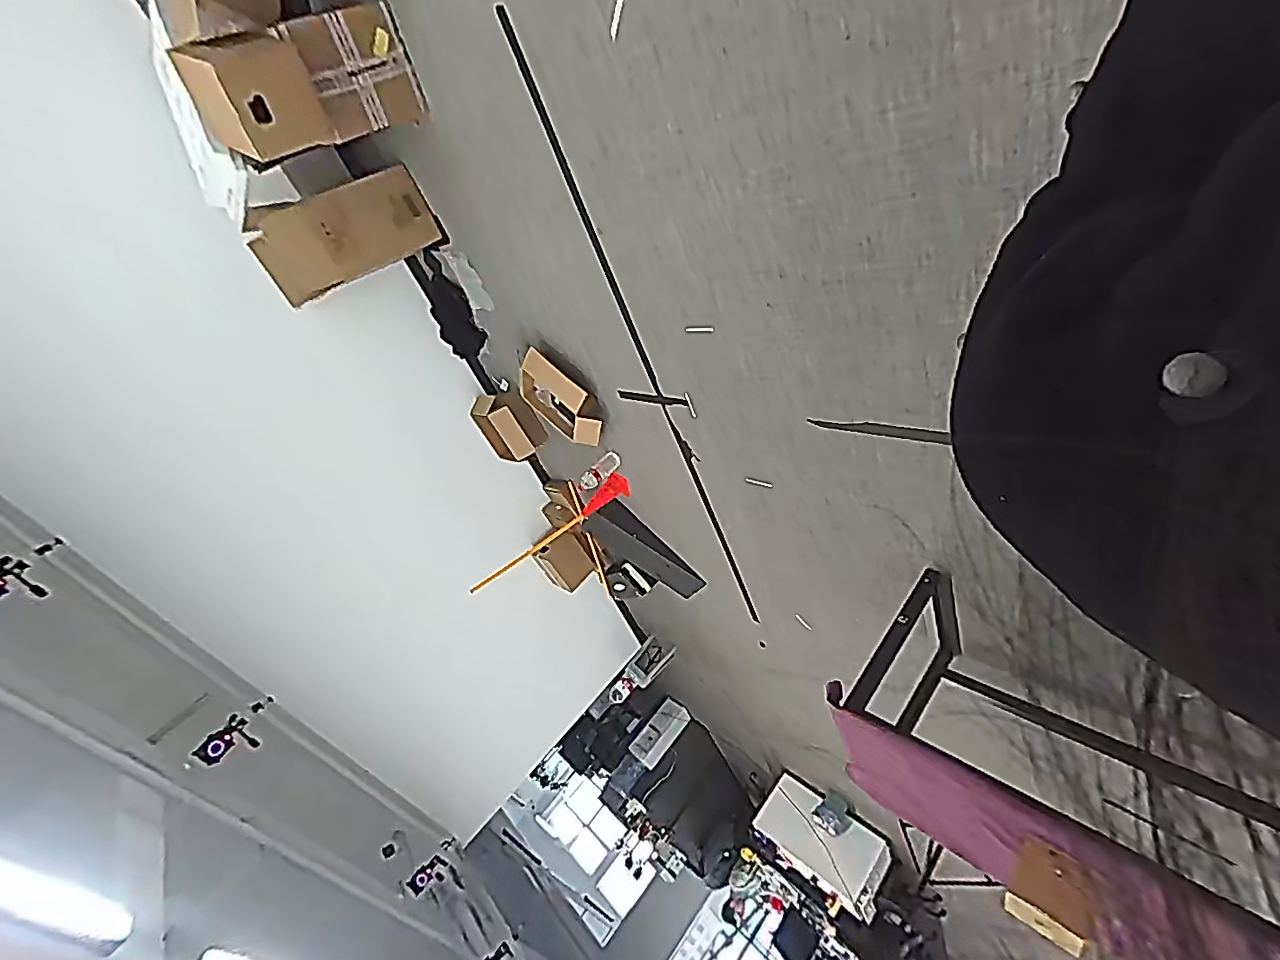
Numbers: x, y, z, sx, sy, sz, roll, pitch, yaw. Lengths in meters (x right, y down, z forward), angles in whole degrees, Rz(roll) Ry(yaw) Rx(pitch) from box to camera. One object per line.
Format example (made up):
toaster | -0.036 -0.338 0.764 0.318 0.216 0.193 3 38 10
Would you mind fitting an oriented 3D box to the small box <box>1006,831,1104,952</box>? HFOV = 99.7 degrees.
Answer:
small box | 1.094 1.079 1.427 0.168 0.176 0.179 18 143 45
